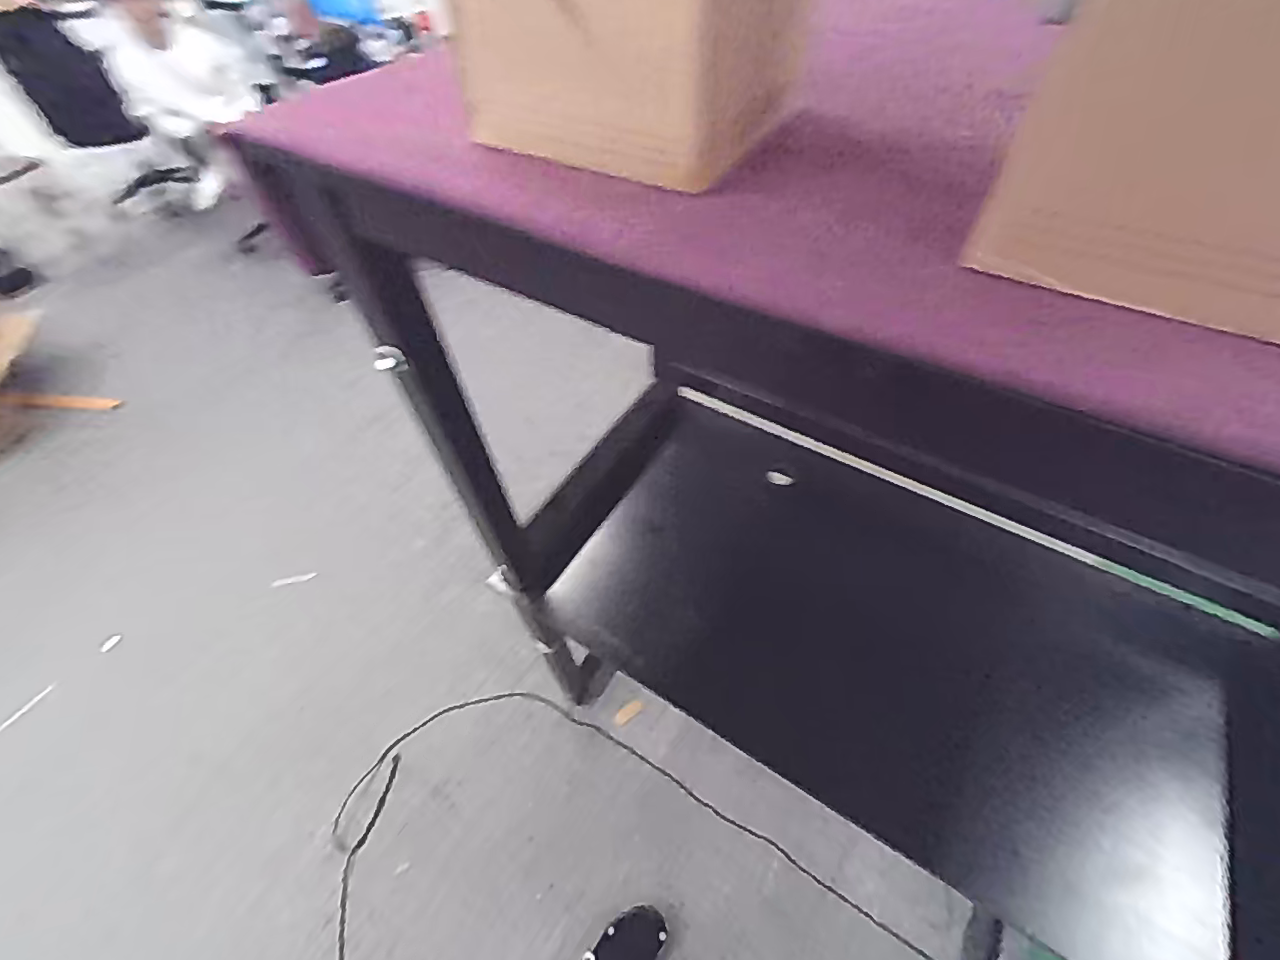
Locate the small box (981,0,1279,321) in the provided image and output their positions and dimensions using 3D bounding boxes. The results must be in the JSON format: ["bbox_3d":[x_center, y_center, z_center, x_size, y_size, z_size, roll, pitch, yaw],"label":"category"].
[{"bbox_3d":[0.263,-0.177,0.199,0.179,0.176,0.168,25,58,21],"label":"small box"}]

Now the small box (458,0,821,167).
[{"bbox_3d":[0.001,-0.308,0.316,0.179,0.176,0.168,24,57,21],"label":"small box"}]
